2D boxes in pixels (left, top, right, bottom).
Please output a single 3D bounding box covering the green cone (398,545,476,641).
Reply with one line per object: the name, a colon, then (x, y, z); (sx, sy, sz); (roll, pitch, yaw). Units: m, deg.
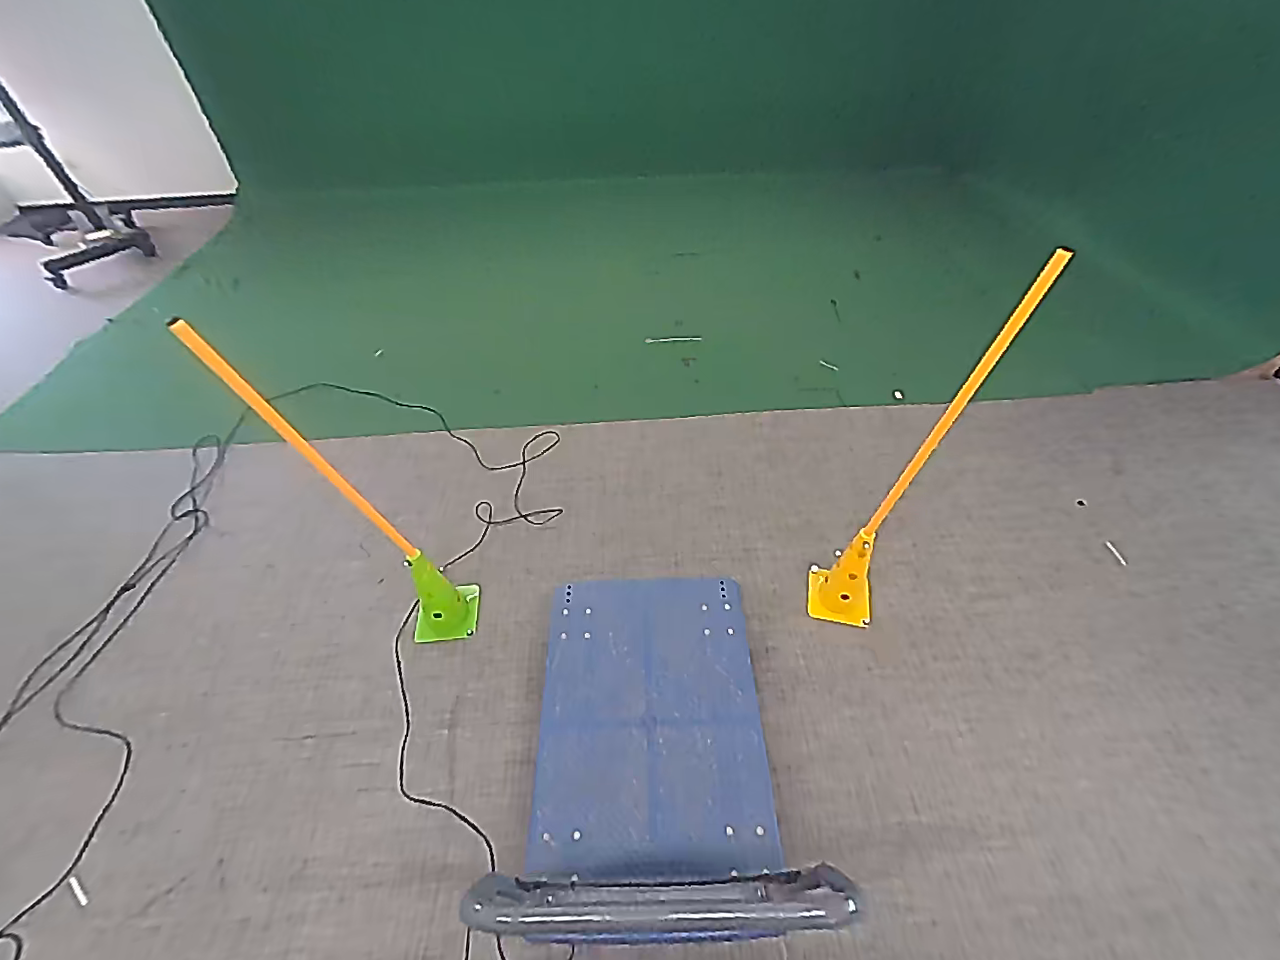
green cone: (-0.667, 0.323, 1.700); (0.202, 0.368, 0.200); (-7, 47, -3)
